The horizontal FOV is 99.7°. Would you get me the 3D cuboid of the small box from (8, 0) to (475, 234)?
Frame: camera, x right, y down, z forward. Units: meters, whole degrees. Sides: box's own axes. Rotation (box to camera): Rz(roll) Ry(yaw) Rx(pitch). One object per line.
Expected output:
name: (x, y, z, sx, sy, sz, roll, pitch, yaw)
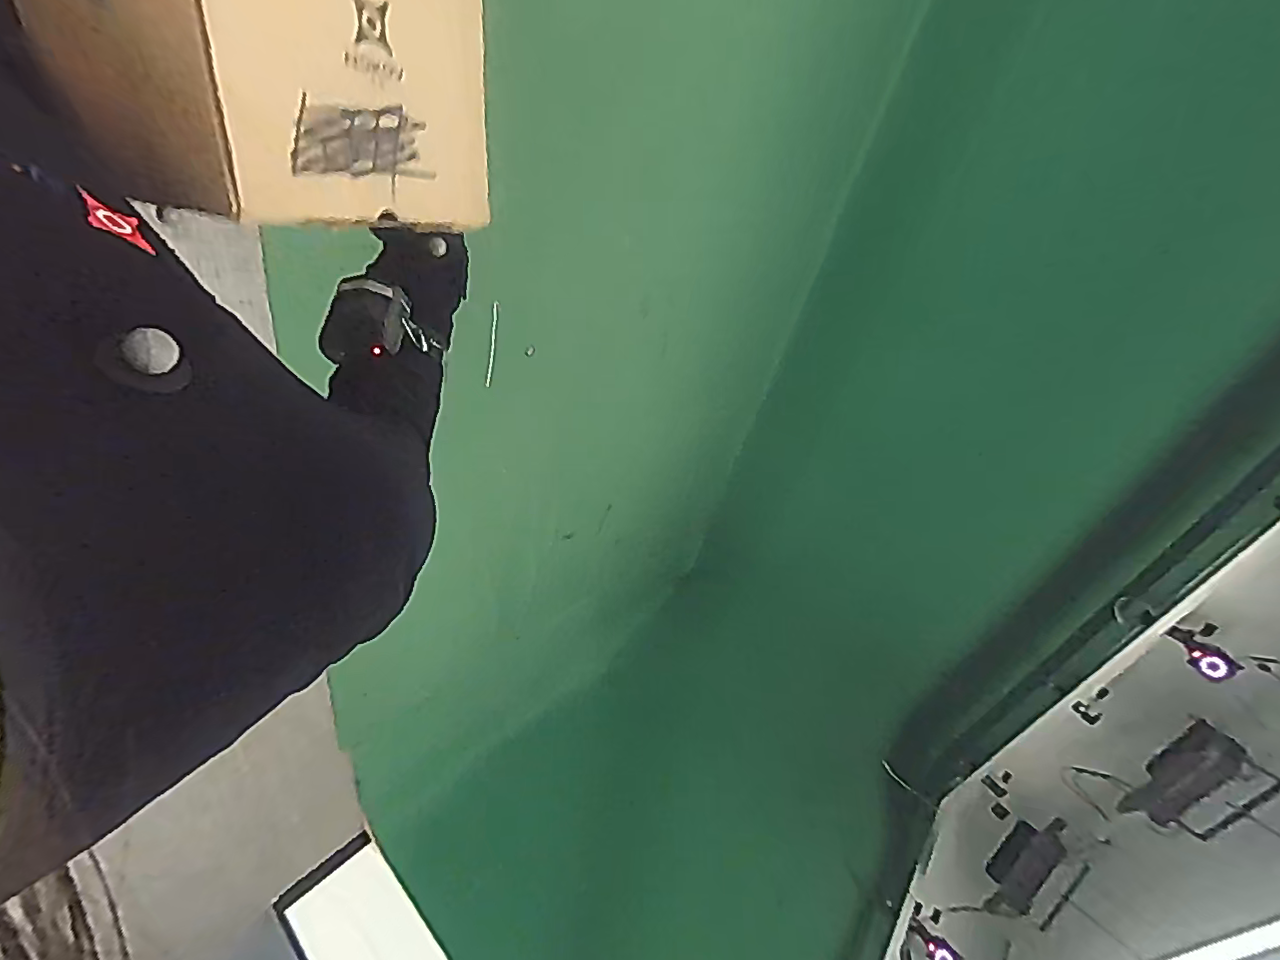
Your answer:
small box: (-0.220, -0.250, 0.317, 0.168, 0.176, 0.179, -37, 138, -55)
